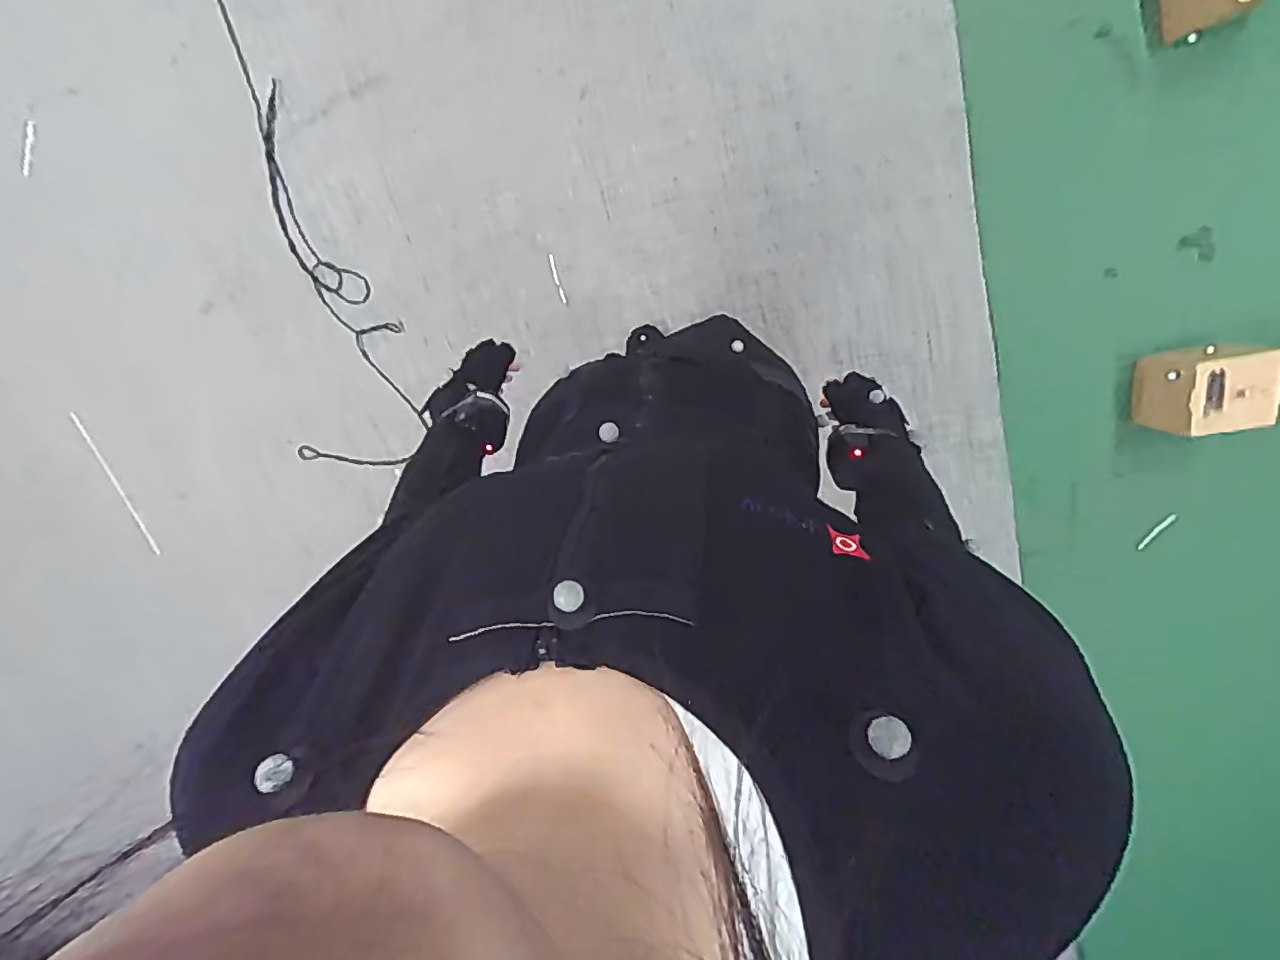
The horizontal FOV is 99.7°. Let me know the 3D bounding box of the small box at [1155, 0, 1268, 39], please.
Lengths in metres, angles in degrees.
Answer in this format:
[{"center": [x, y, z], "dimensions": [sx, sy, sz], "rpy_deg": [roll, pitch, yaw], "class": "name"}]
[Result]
[{"center": [1.124, -0.982, 1.018], "dimensions": [0.168, 0.176, 0.179], "rpy_deg": [-18, 104, 10], "class": "small box"}]
